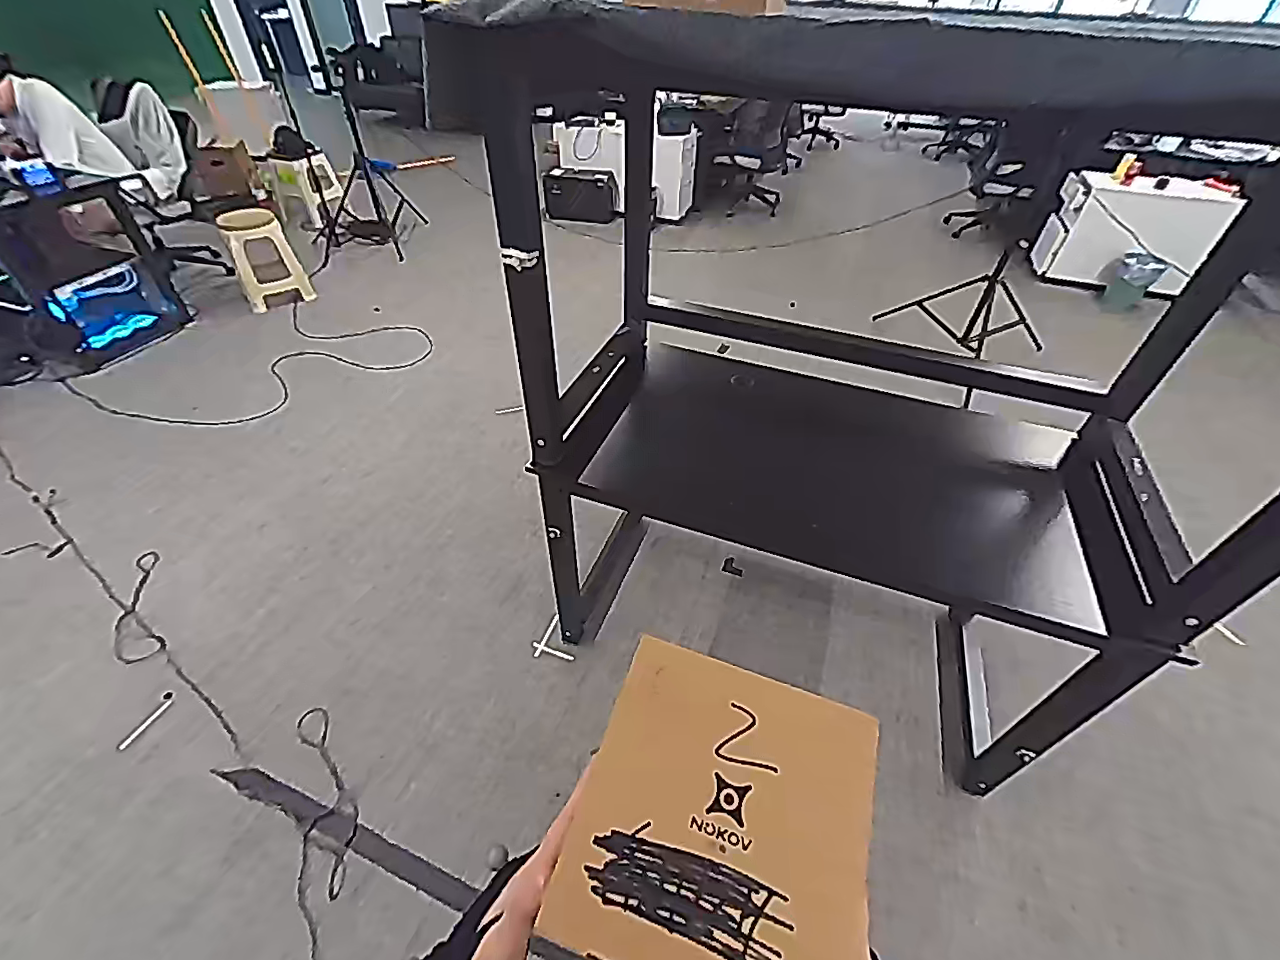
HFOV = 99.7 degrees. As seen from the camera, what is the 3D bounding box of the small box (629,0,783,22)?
[{"bbox_3d":[0.087,-0.629,0.607,0.168,0.176,0.179,15,43,11],"label":"small box"}]
